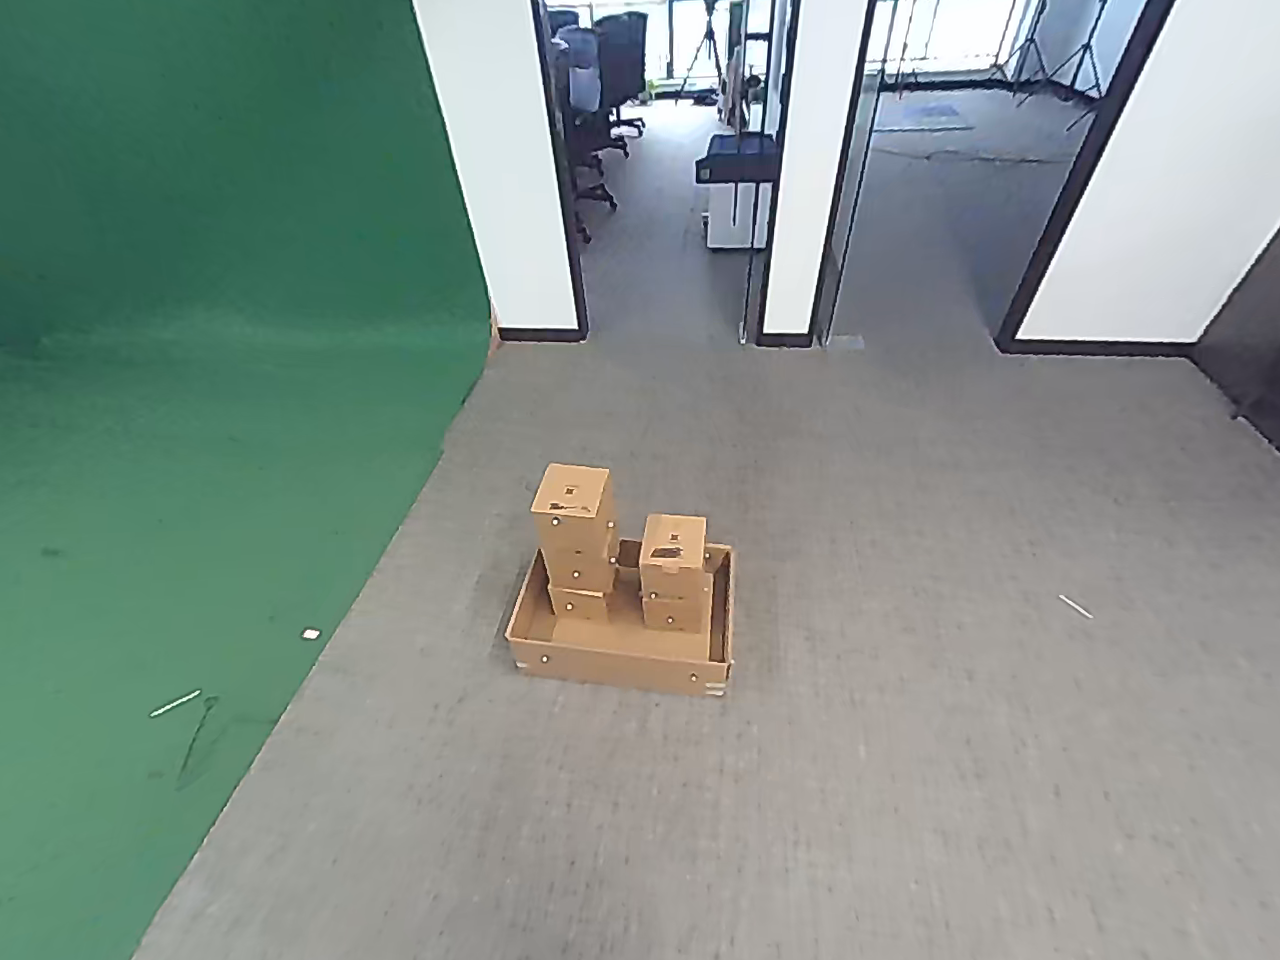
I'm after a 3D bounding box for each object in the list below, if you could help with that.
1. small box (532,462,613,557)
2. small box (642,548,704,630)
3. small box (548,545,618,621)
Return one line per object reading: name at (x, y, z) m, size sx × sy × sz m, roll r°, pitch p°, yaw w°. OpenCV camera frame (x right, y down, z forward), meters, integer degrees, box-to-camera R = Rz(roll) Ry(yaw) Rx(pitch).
small box at (-0.168, 0.076, 1.426) m, size 0.168 × 0.176 × 0.179 m, roll 5°, pitch 45°, yaw 10°
small box at (0.105, 0.328, 1.617) m, size 0.168 × 0.176 × 0.179 m, roll 3°, pitch 46°, yaw 8°
small box at (-0.165, 0.310, 1.657) m, size 0.168 × 0.176 × 0.179 m, roll 7°, pitch 46°, yaw 10°
